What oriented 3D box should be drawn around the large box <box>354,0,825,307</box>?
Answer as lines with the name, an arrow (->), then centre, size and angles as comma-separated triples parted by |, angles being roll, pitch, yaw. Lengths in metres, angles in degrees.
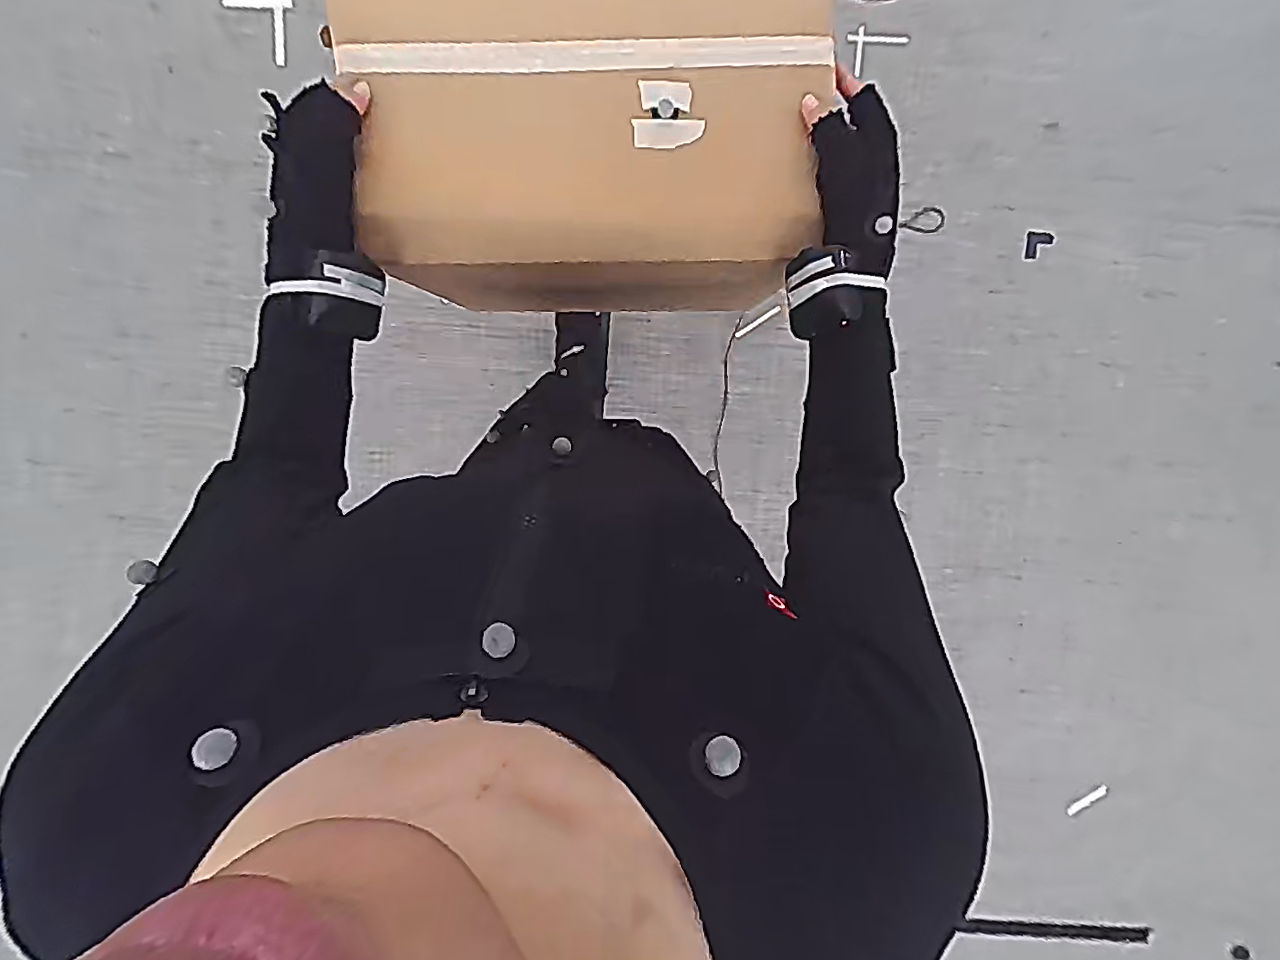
large box -> -0.044, -0.381, 0.607 | 0.408, 0.320, 0.320 | -1, 101, 0
